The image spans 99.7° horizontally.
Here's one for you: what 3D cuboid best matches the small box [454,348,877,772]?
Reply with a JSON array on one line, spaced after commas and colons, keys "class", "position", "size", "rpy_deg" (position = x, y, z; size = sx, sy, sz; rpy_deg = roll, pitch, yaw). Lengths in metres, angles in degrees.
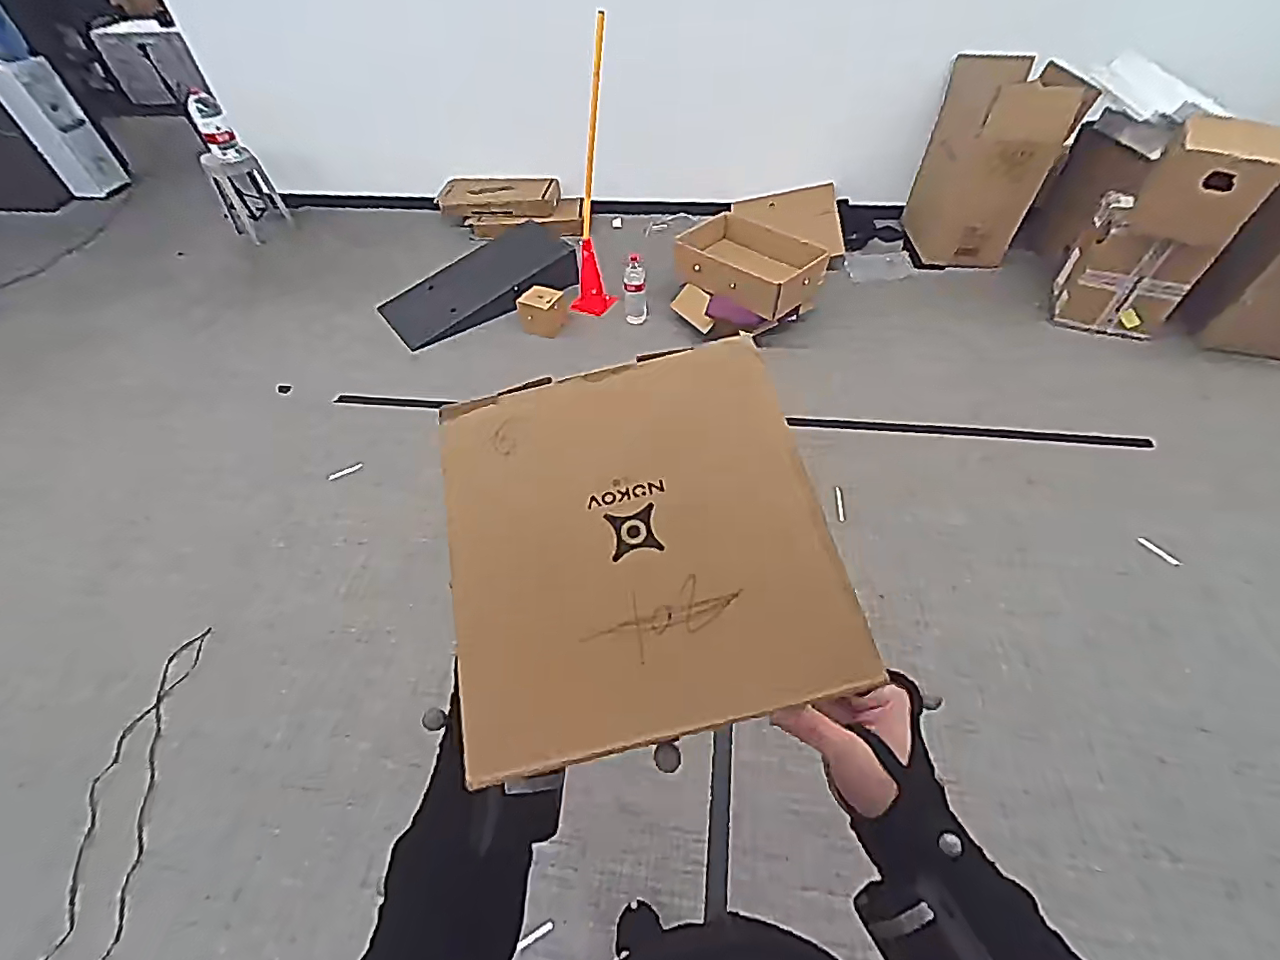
[{"class": "small box", "position": [0.005, 0.056, 0.325], "size": [0.168, 0.176, 0.179], "rpy_deg": [-15, 66, -1]}]
